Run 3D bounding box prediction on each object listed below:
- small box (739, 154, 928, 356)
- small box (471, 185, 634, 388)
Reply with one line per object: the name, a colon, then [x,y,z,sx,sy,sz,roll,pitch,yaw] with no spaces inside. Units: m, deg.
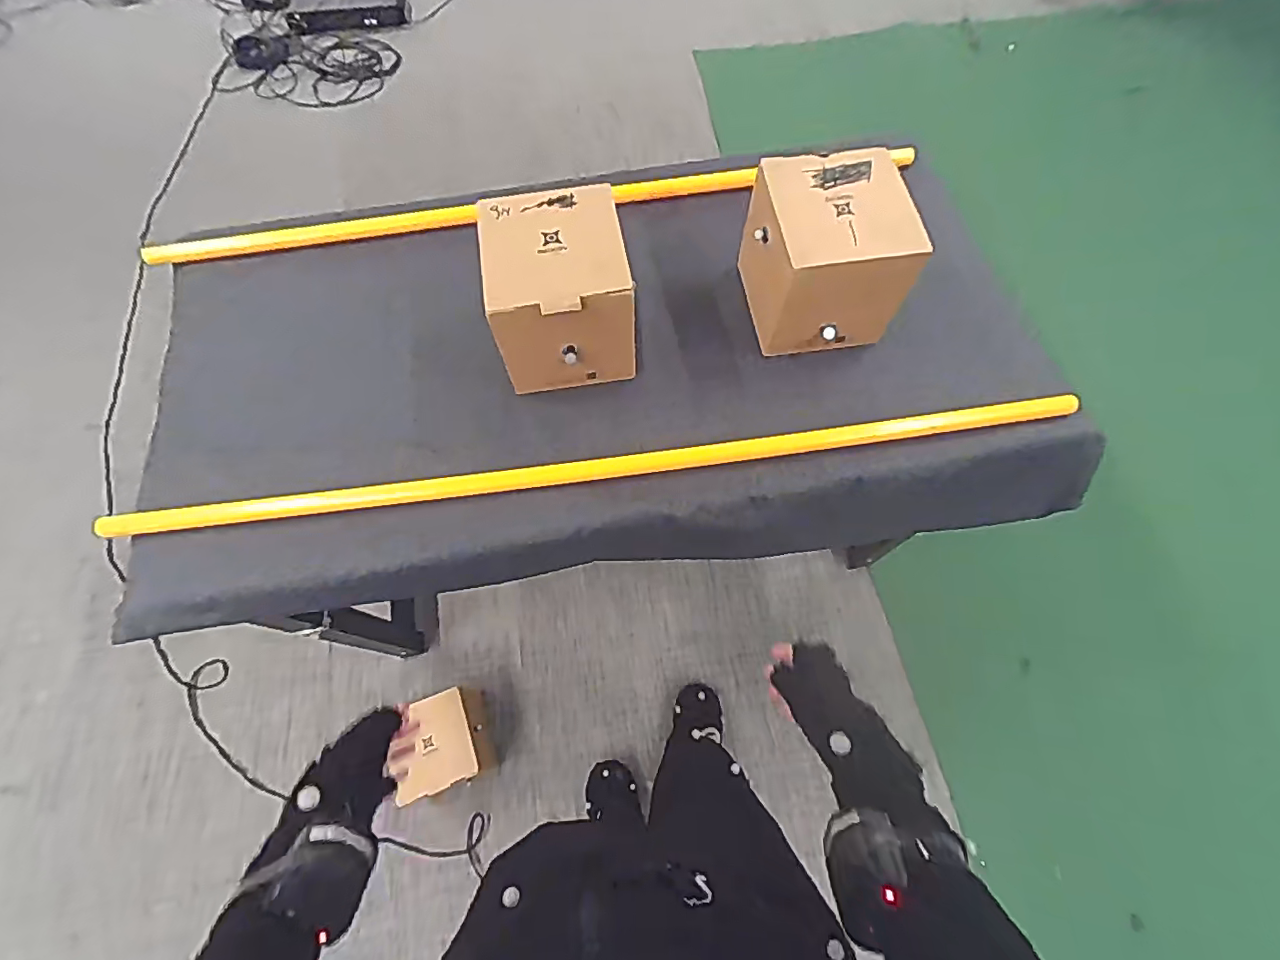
small box: [0.237,-0.291,0.716,0.168,0.176,0.179,-8,67,-2]
small box: [-0.105,-0.236,0.699,0.168,0.176,0.179,-12,66,-3]
